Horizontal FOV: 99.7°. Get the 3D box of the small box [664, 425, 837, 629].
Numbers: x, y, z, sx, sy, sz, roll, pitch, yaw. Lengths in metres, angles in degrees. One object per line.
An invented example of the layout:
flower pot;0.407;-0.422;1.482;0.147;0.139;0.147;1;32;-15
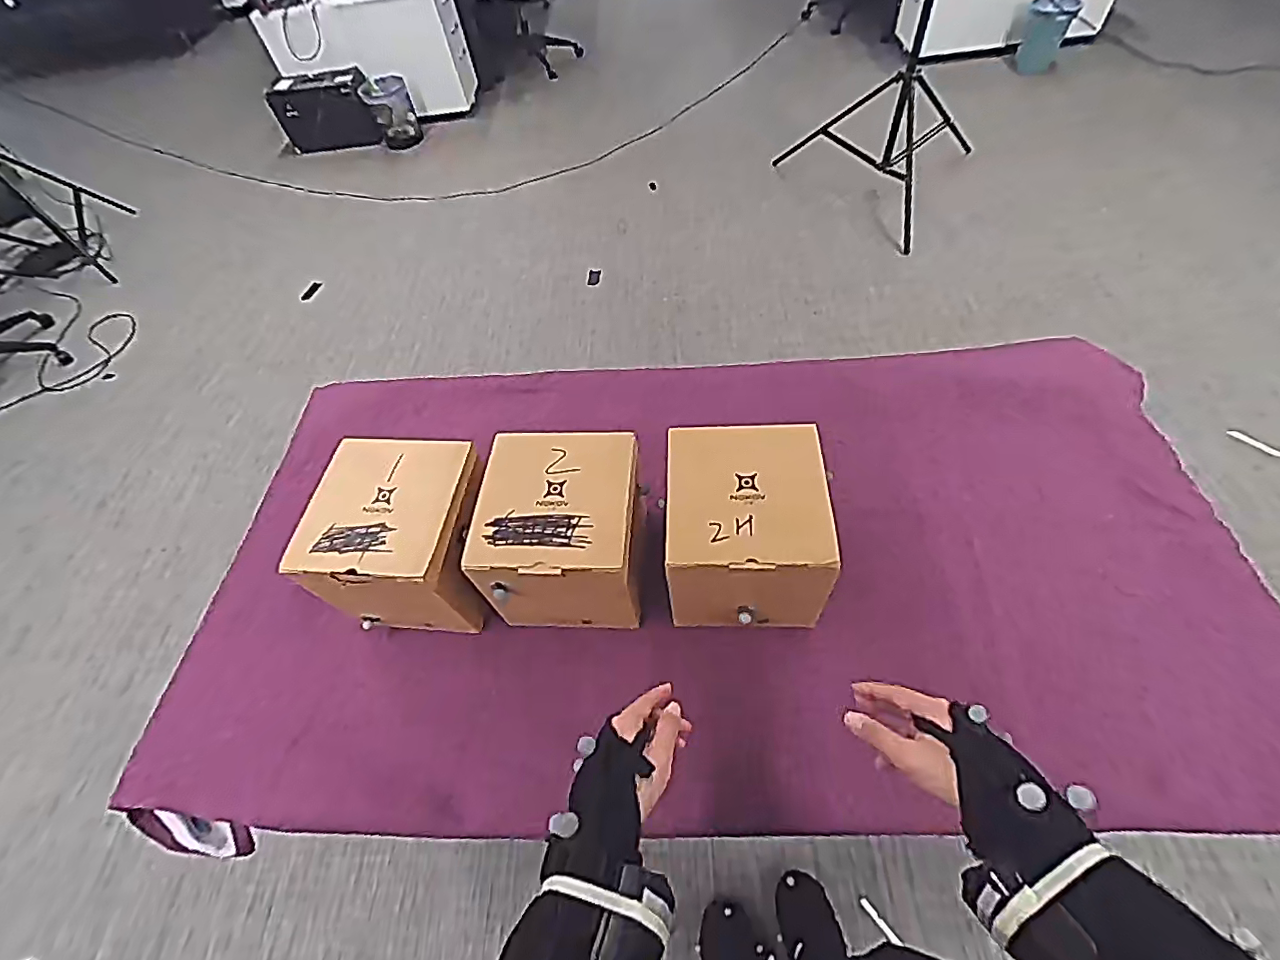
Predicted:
small box;0.116;0.057;0.625;0.168;0.176;0.179;-2;55;7
